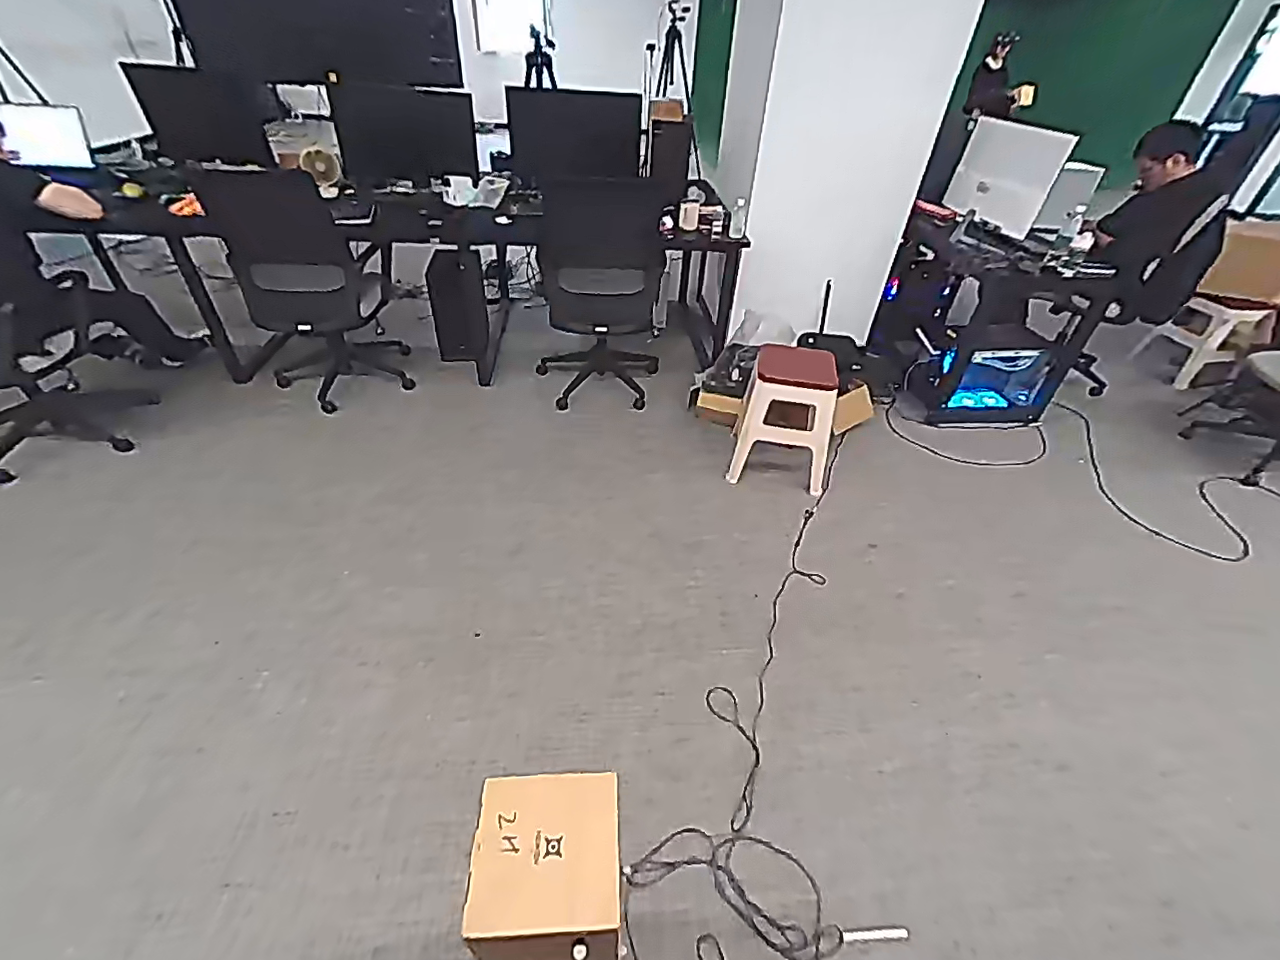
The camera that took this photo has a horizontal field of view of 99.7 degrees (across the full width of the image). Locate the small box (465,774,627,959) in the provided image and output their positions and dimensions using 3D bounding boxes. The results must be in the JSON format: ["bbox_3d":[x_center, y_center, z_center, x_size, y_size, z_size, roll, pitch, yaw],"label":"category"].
[{"bbox_3d":[-0.107,0.501,0.697,0.179,0.176,0.168,-1,38,-2],"label":"small box"}]
